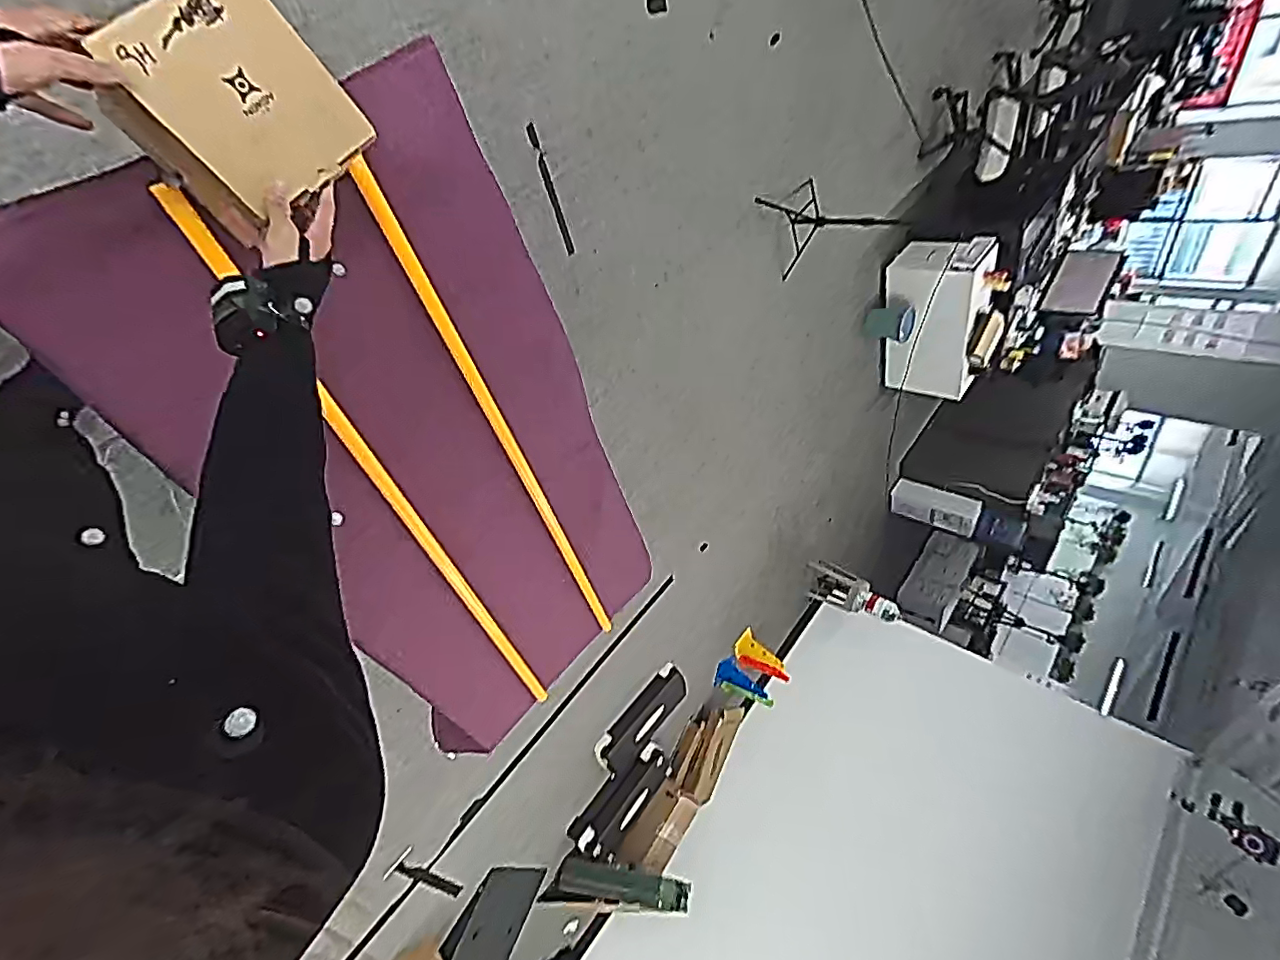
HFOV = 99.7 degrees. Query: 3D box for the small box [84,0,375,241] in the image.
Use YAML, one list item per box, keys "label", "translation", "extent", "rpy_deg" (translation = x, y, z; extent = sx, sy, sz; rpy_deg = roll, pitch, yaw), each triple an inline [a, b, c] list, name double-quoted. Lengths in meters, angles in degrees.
- label: "small box"
  translation: [-0.439, -0.387, 0.595]
  extent: [0.168, 0.176, 0.179]
  rpy_deg: [-54, 130, -18]
